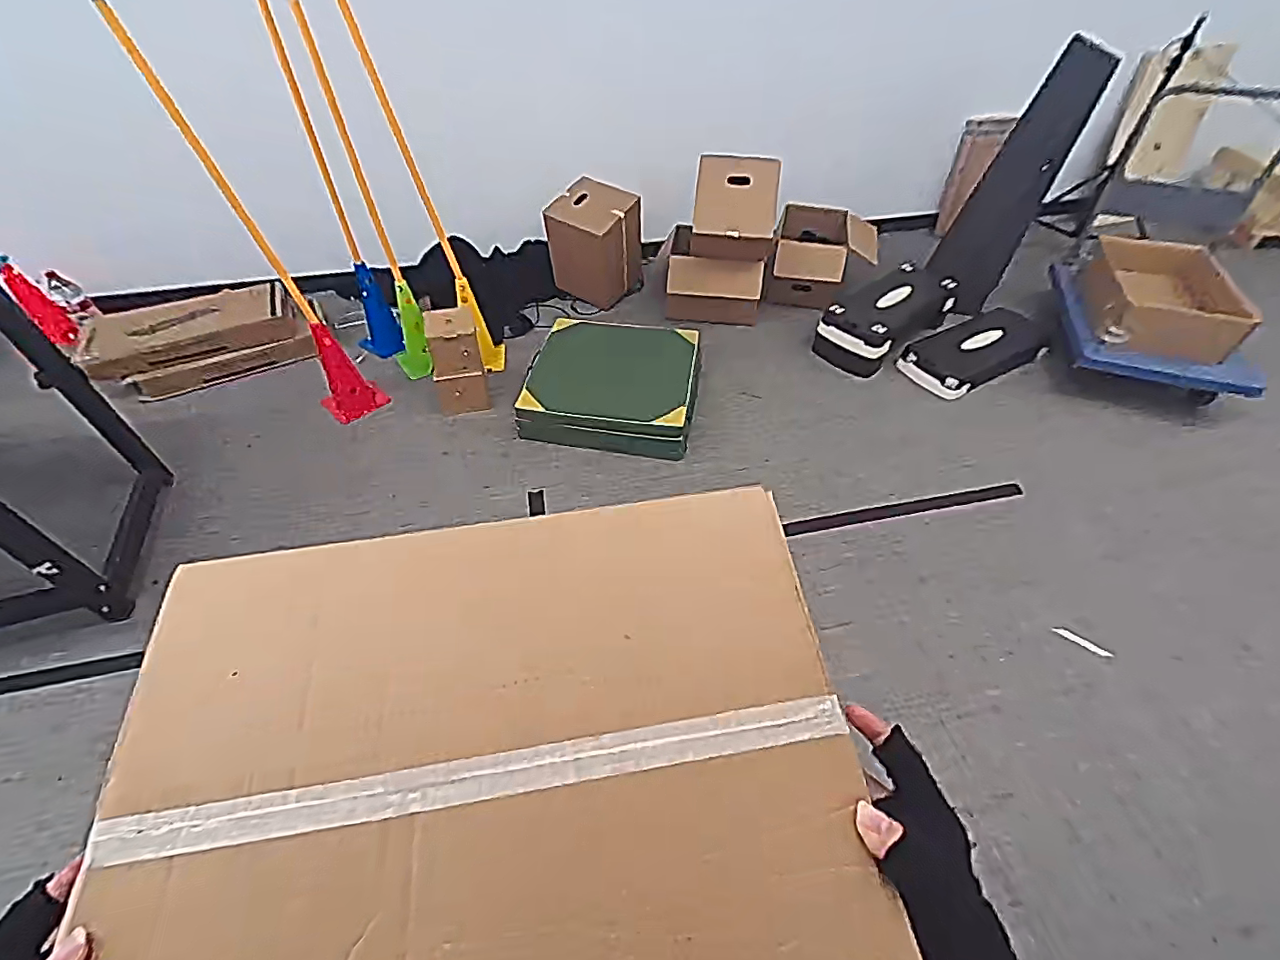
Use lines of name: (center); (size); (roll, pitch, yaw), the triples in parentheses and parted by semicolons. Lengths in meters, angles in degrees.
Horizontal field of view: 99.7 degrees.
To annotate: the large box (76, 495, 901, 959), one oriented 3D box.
large box: (-0.084, 0.243, 0.435); (0.408, 0.320, 0.320); (-8, 58, -4)
